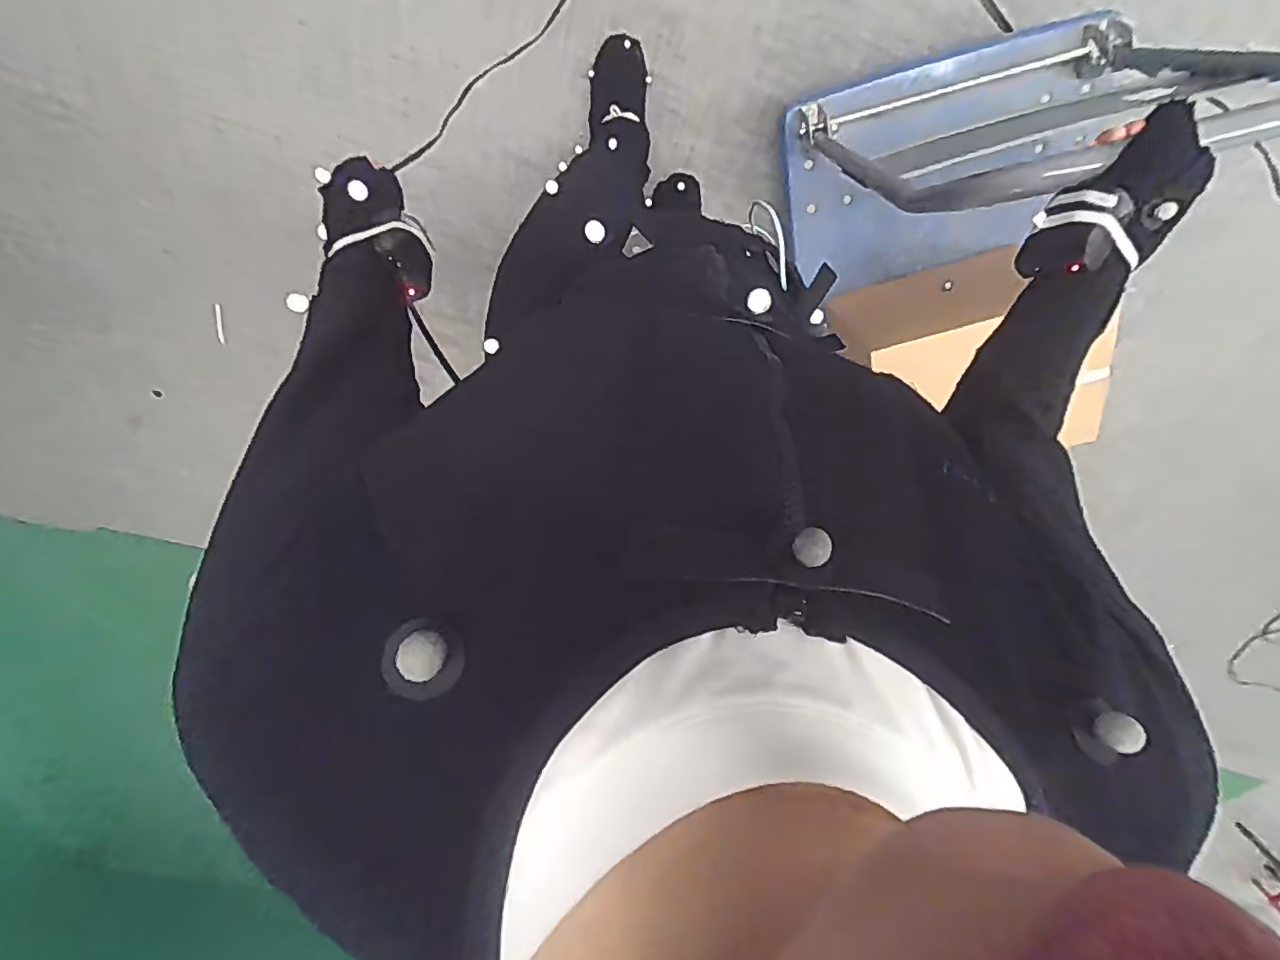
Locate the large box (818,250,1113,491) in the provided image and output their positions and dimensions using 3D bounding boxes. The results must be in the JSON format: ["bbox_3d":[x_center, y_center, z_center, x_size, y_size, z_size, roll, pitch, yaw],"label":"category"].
[{"bbox_3d":[0.627,-0.230,1.113,0.408,0.320,0.320,-15,124,9],"label":"large box"}]
